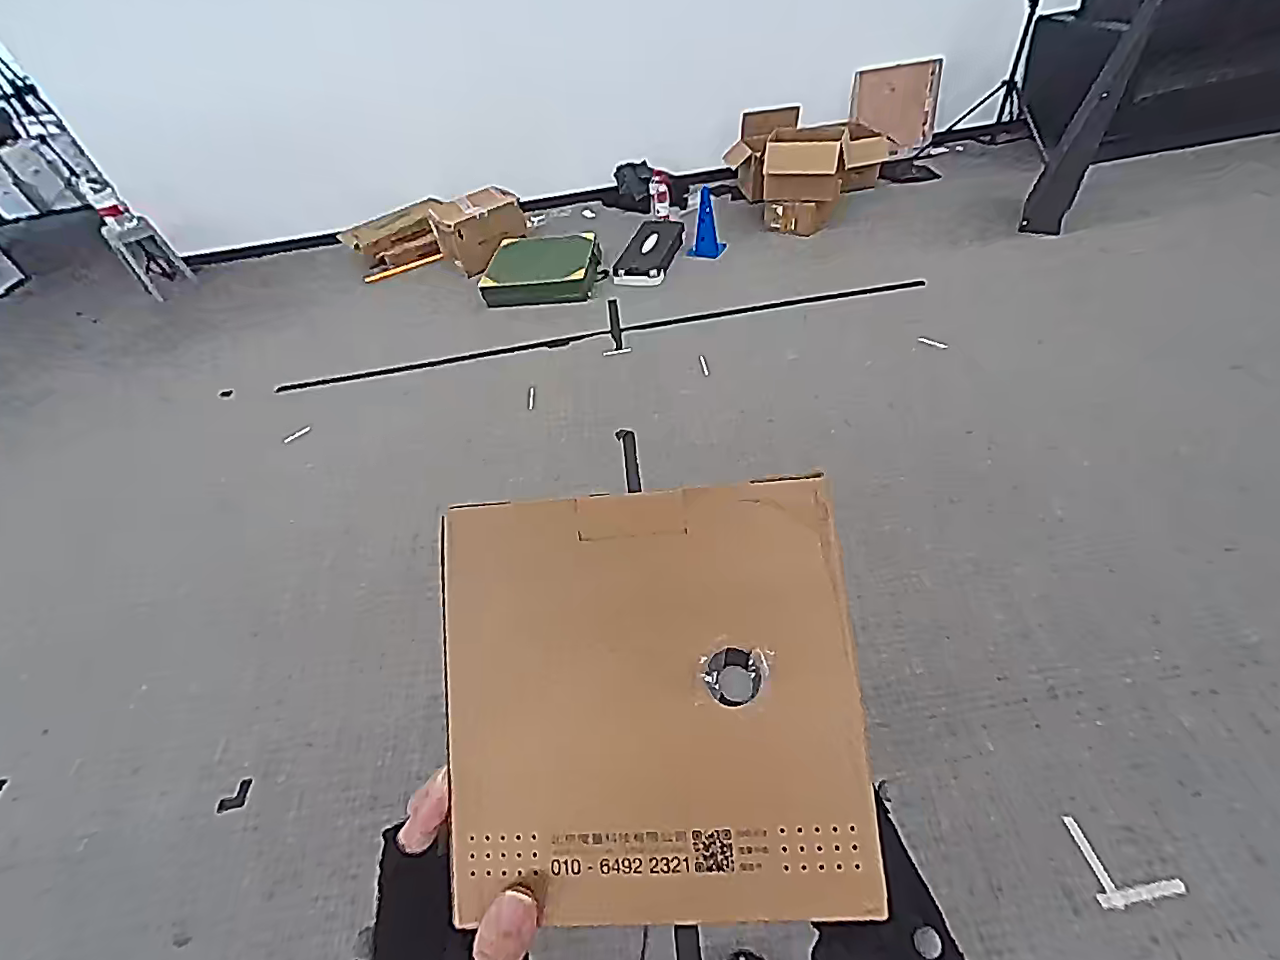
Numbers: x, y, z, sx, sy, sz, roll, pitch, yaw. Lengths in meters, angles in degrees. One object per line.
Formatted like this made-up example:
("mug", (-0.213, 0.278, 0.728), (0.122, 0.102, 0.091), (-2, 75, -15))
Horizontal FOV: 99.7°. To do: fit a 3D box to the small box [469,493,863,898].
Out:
("small box", (0.017, 0.106, 0.316), (0.168, 0.179, 0.176), (-5, 82, 6))
